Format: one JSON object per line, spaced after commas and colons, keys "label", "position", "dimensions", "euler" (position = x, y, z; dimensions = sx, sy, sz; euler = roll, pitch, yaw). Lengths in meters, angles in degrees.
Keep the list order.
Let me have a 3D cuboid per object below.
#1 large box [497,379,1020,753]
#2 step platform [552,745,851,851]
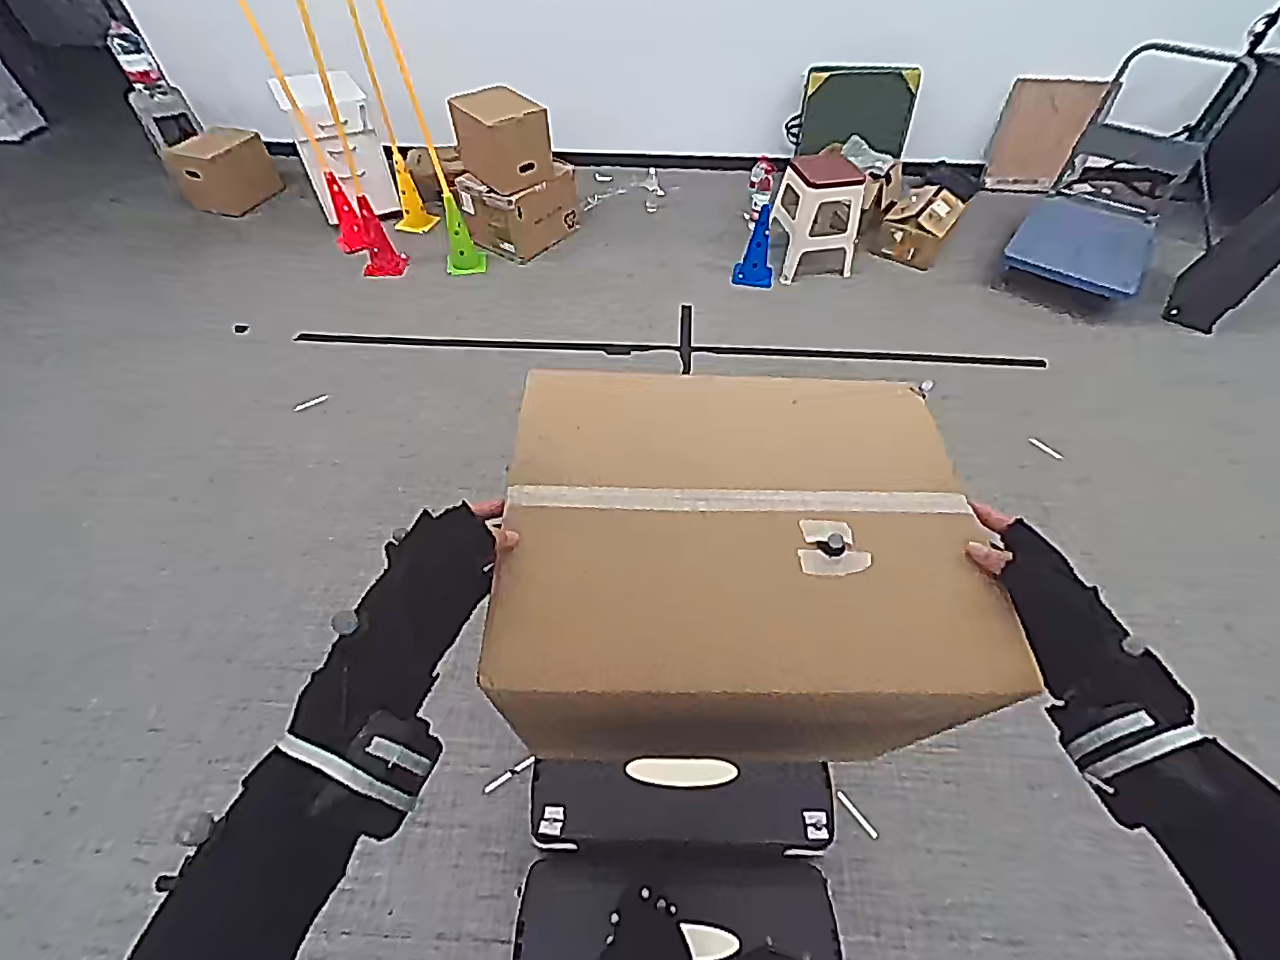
{"label": "large box", "position": [0.080, 0.107, 0.604], "dimensions": [0.408, 0.320, 0.320], "euler": [1, 56, -3]}
{"label": "step platform", "position": [0.134, 0.705, 1.289], "dimensions": [0.684, 0.204, 0.286], "euler": [1, 51, -1]}
